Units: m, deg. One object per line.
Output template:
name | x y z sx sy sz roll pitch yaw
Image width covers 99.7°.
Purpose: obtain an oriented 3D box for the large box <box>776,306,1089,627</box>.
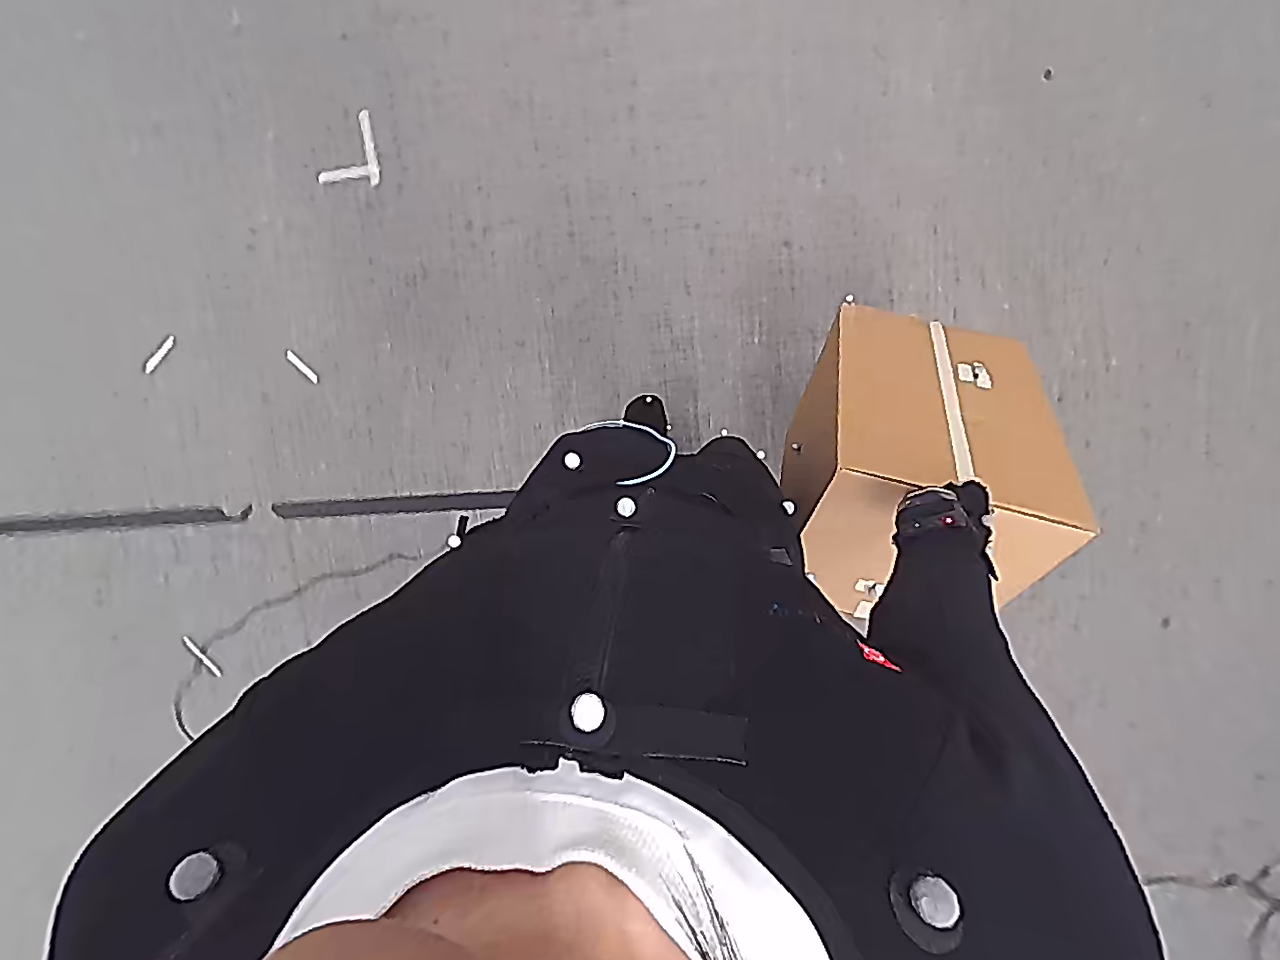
large box | 0.427 -0.027 0.906 0.320 0.408 0.320 15 138 4
